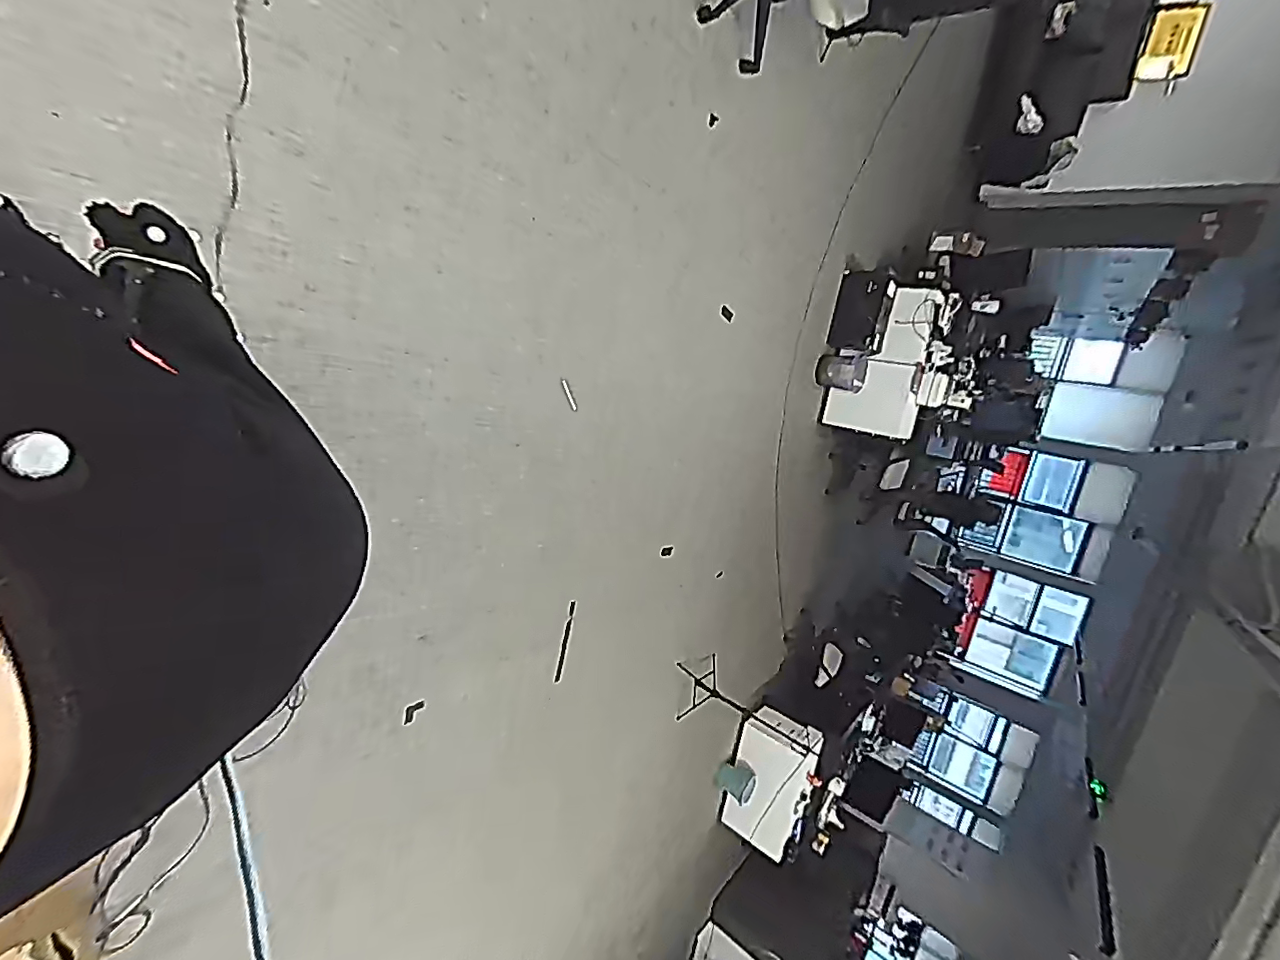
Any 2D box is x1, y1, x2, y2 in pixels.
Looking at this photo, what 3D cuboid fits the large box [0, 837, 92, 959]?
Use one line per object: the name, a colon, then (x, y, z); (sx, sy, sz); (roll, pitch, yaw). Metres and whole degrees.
large box: (-1.357, 1.000, 0.999); (0.408, 0.320, 0.320); (-34, 129, -42)
